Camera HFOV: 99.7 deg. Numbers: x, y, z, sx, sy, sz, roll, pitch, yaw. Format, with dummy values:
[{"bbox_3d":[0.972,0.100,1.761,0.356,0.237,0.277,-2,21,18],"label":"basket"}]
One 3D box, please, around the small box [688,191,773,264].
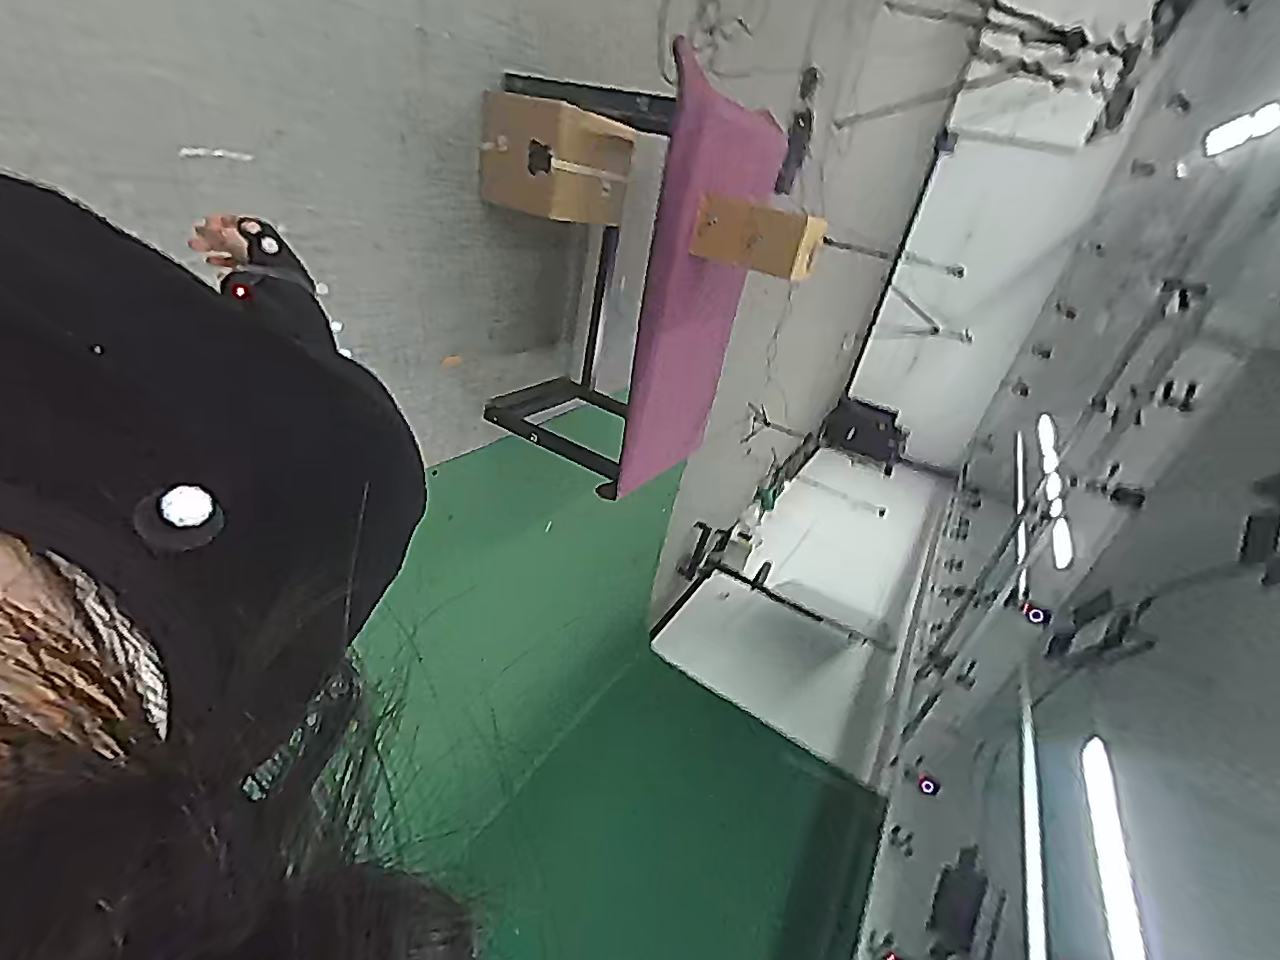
[{"bbox_3d":[0.268,-0.750,1.611,0.179,0.176,0.168,-31,140,-52],"label":"small box"}]
